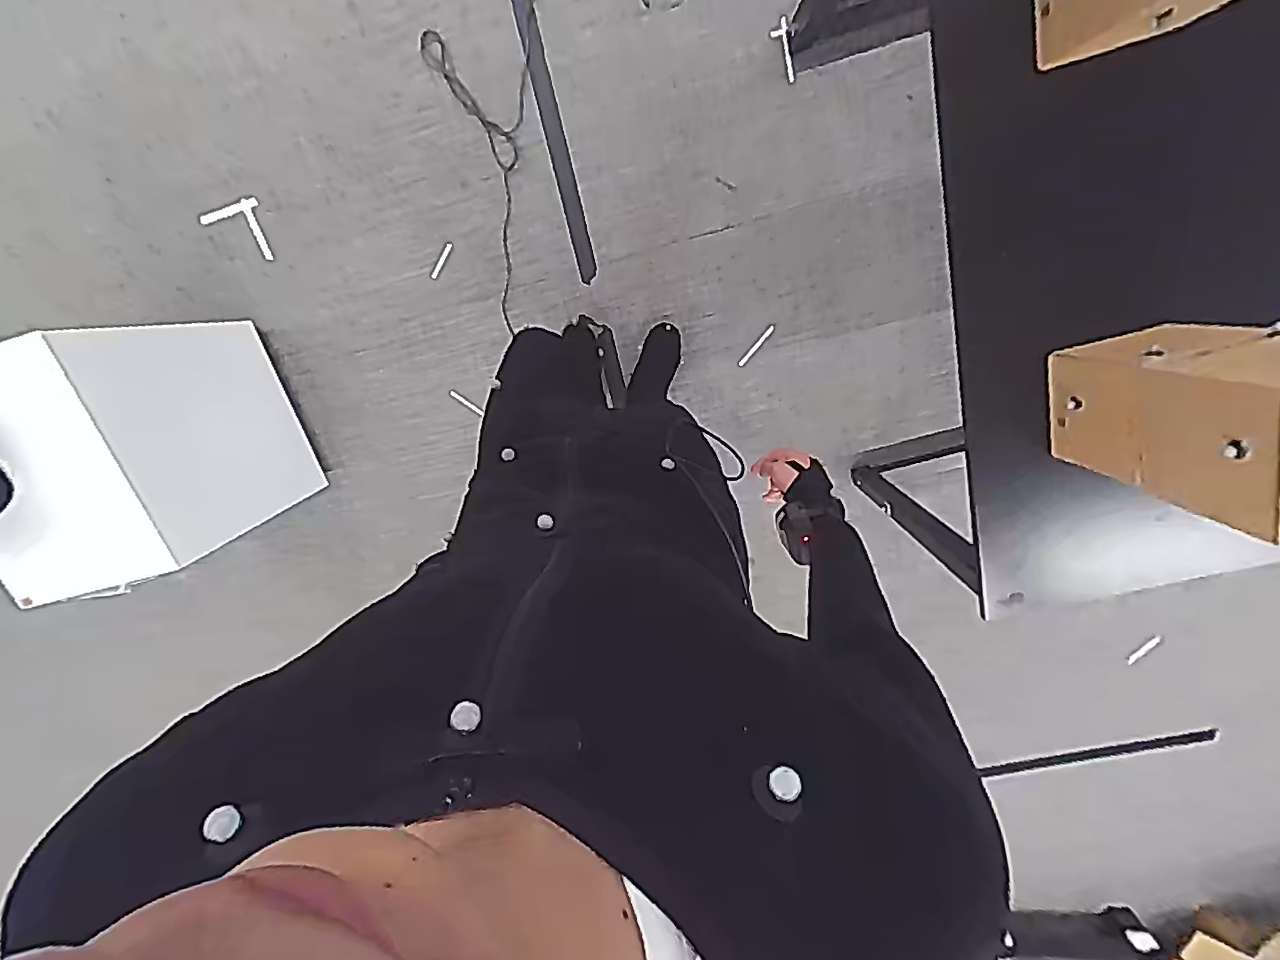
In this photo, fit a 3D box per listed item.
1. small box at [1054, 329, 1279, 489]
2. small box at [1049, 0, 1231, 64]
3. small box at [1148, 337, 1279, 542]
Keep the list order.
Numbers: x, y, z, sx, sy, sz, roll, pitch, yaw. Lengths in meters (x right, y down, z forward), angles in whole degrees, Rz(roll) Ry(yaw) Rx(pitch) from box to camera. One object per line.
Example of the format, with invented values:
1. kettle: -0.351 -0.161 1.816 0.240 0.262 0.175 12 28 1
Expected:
1. small box: 0.723 -0.107 0.749 0.179 0.176 0.168 -14 107 6
2. small box: 0.583 -0.599 0.589 0.179 0.176 0.168 -15 108 7
3. small box: 0.712 -0.054 0.593 0.168 0.176 0.179 -17 108 7
